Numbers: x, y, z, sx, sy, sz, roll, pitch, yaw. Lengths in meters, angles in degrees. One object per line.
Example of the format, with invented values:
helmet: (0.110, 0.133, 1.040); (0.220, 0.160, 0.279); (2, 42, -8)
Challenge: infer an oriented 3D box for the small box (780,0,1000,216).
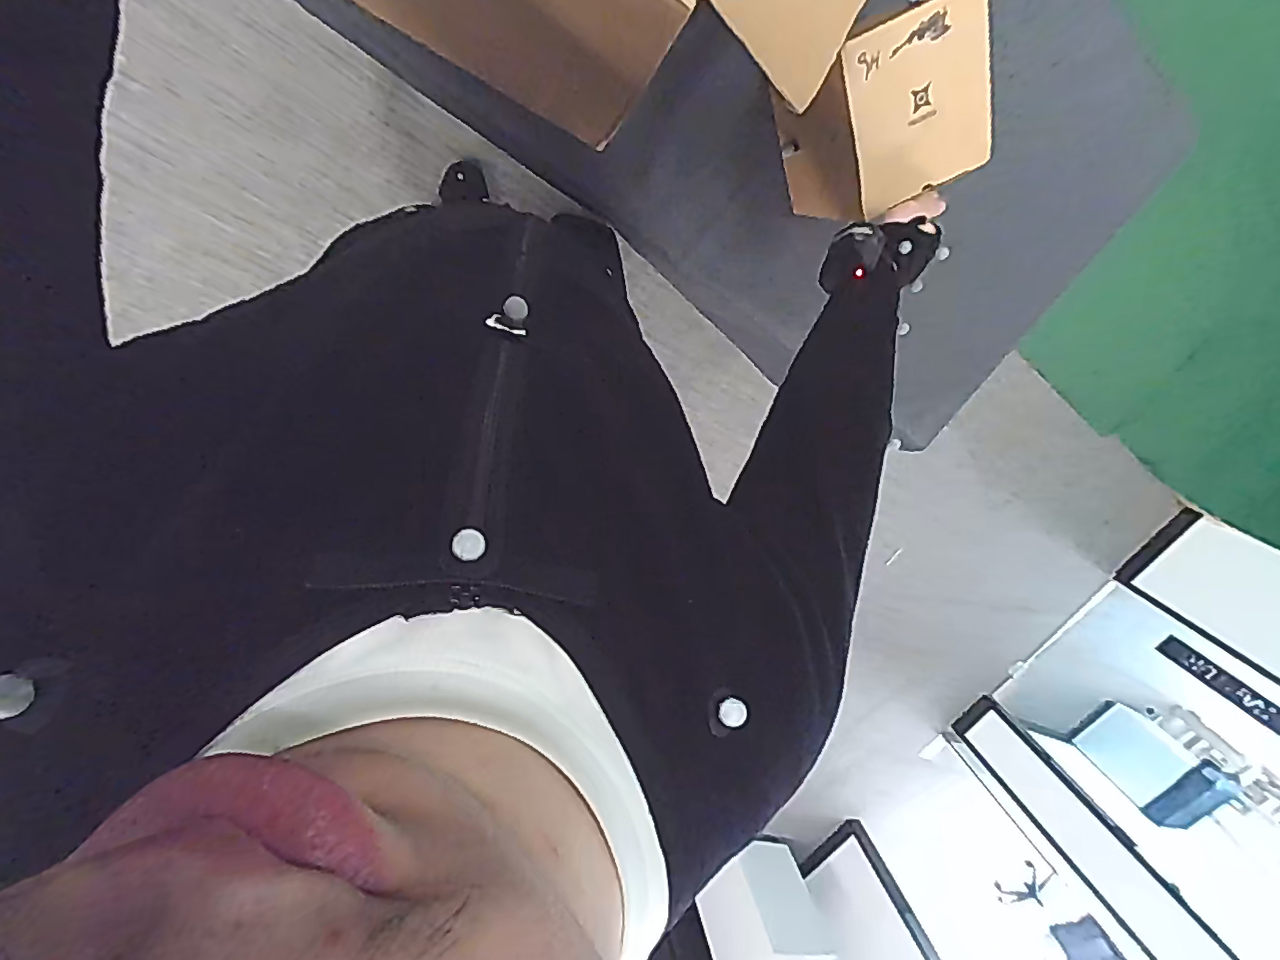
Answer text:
small box: (0.288, -0.445, 0.644); (0.168, 0.176, 0.179); (-24, 124, 1)
